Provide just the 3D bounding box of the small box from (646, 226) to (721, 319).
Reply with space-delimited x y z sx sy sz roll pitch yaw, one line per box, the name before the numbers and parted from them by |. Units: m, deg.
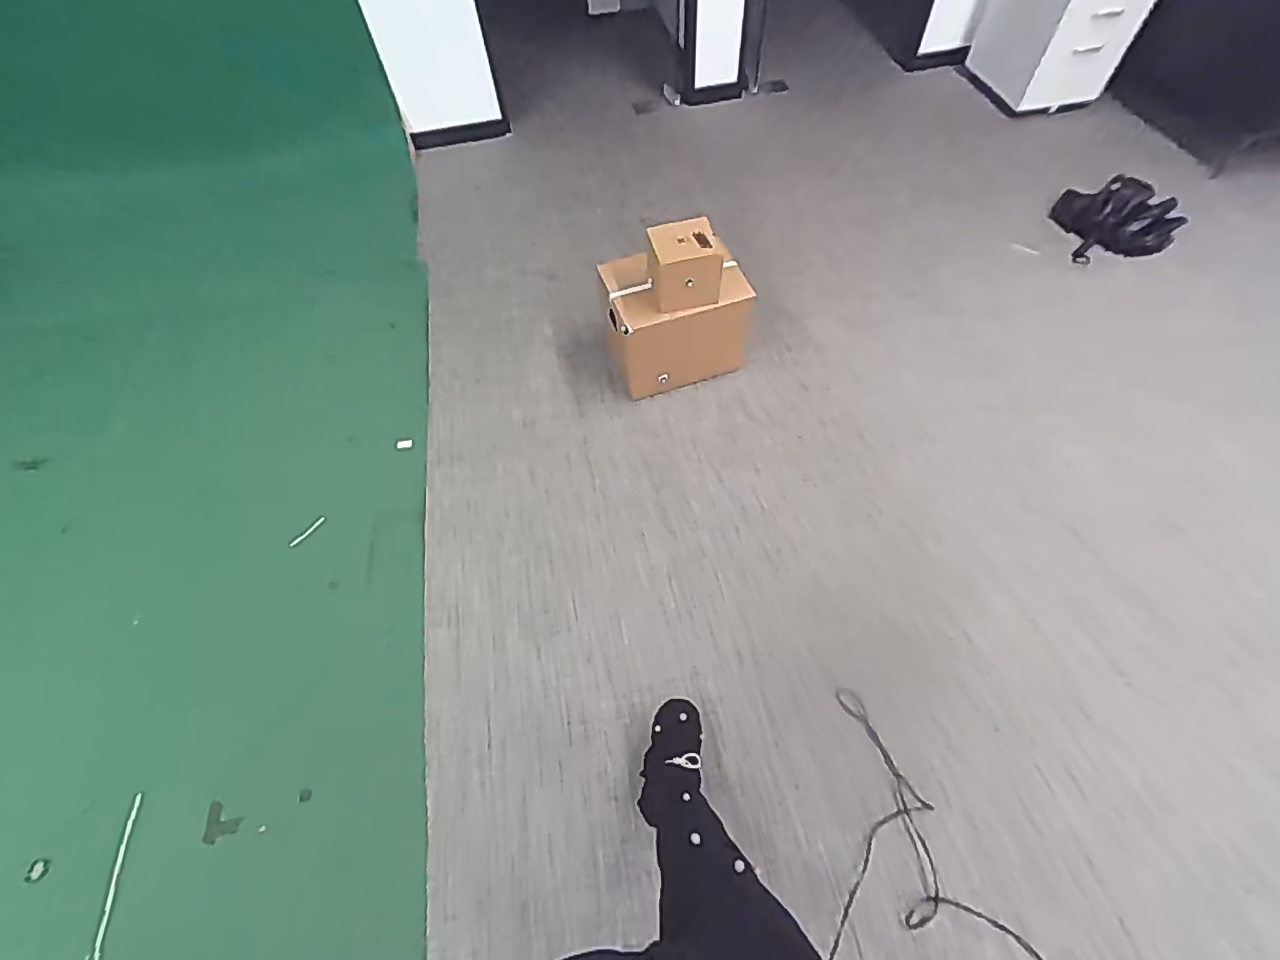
small box | 0.119 -0.587 1.543 0.179 0.176 0.168 -13 59 -4
